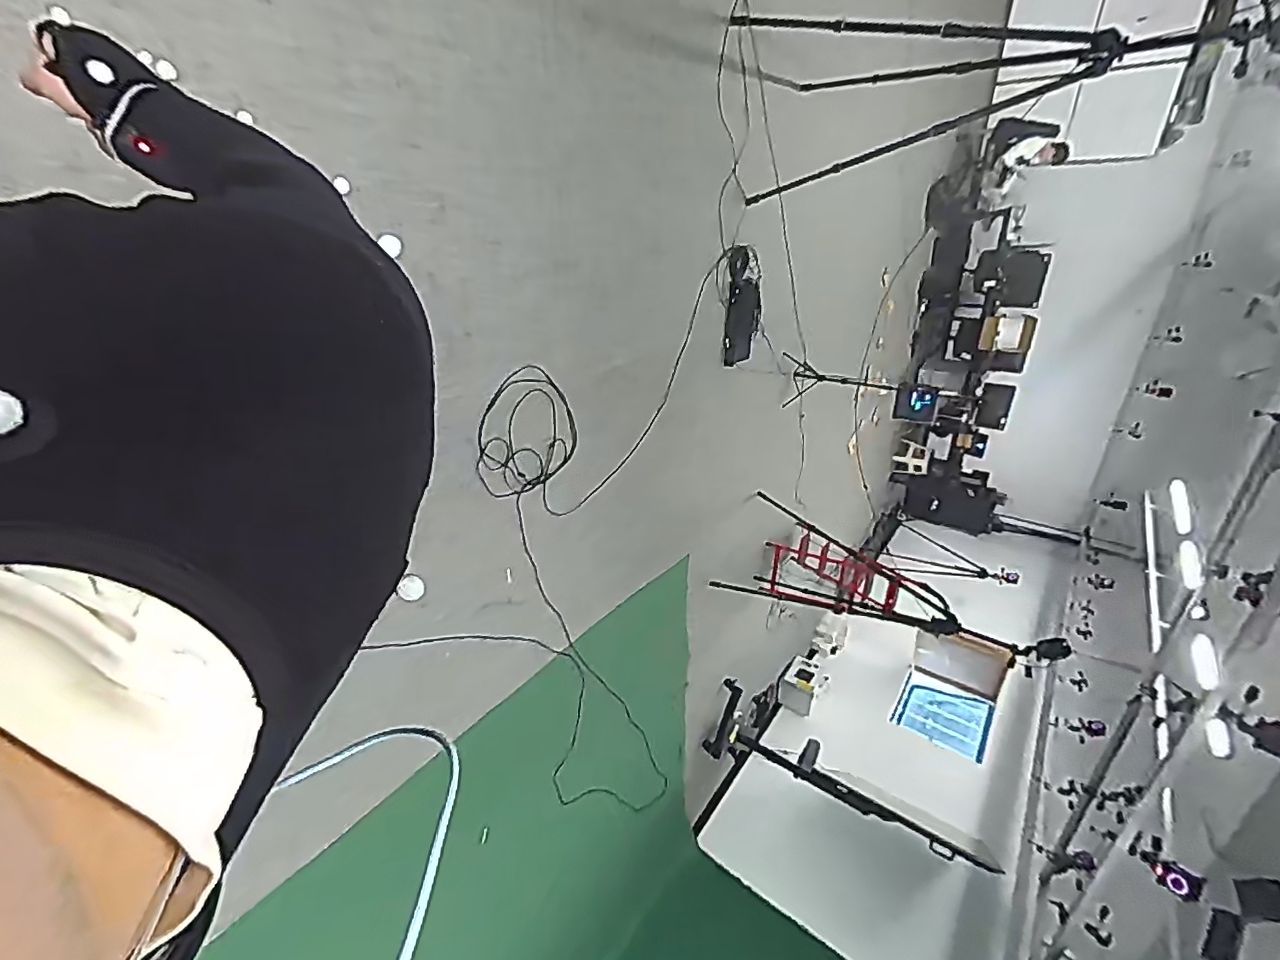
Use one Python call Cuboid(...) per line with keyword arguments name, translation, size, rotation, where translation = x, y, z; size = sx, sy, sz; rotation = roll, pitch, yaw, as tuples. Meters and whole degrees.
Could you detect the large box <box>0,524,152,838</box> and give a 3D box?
Cuboid(name="large box", translation=(-1.124, 0.344, 0.902), size=(0.320, 0.320, 0.408), rotation=(-27, 126, -46))
